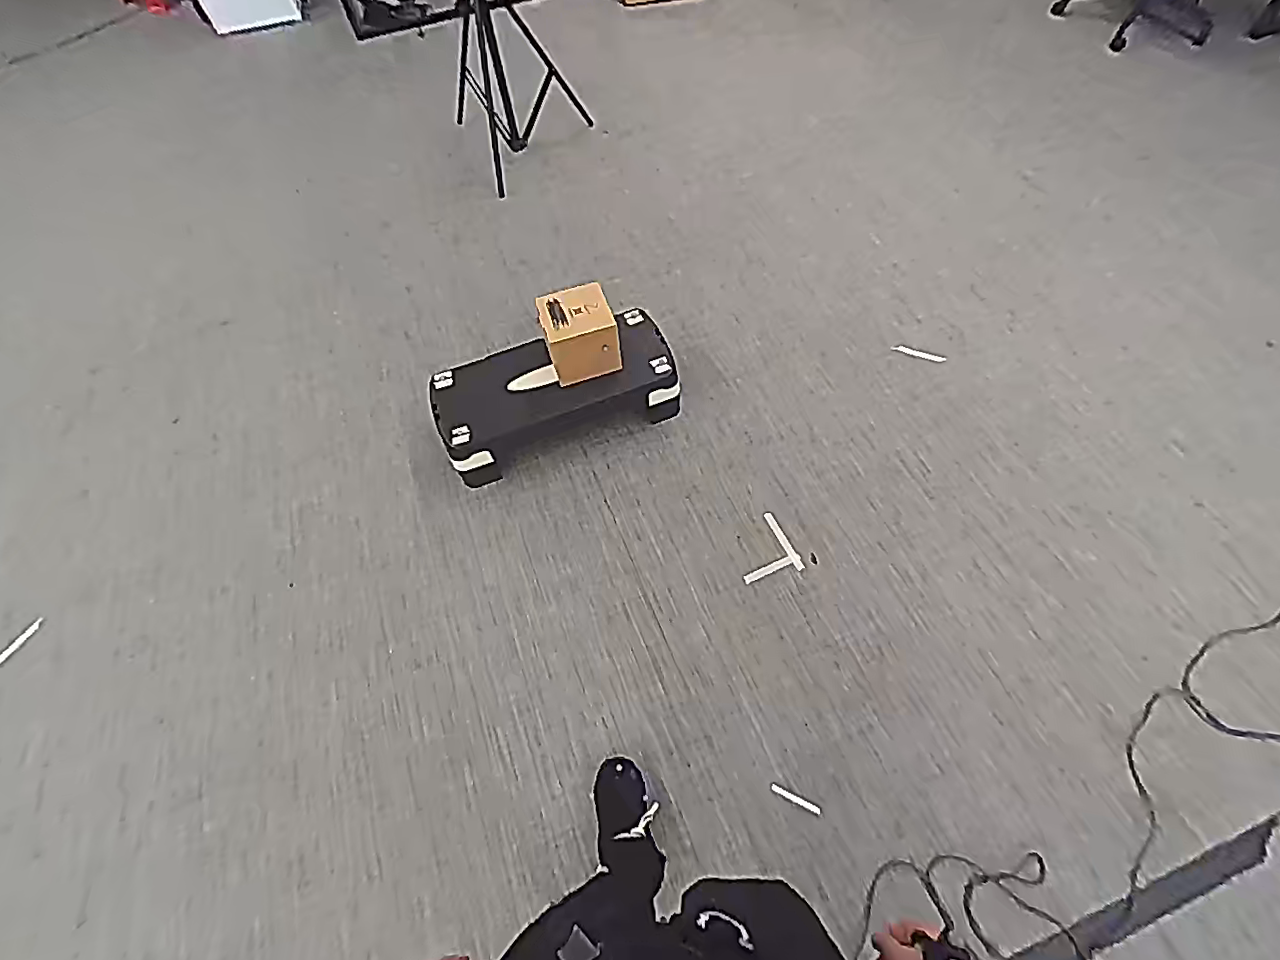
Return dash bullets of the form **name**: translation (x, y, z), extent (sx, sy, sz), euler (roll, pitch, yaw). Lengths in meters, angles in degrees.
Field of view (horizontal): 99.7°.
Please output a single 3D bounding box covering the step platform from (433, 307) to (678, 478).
- **step platform**: translation (-0.238, -0.262, 1.574), extent (0.684, 0.204, 0.286), euler (-21, 62, -8)
